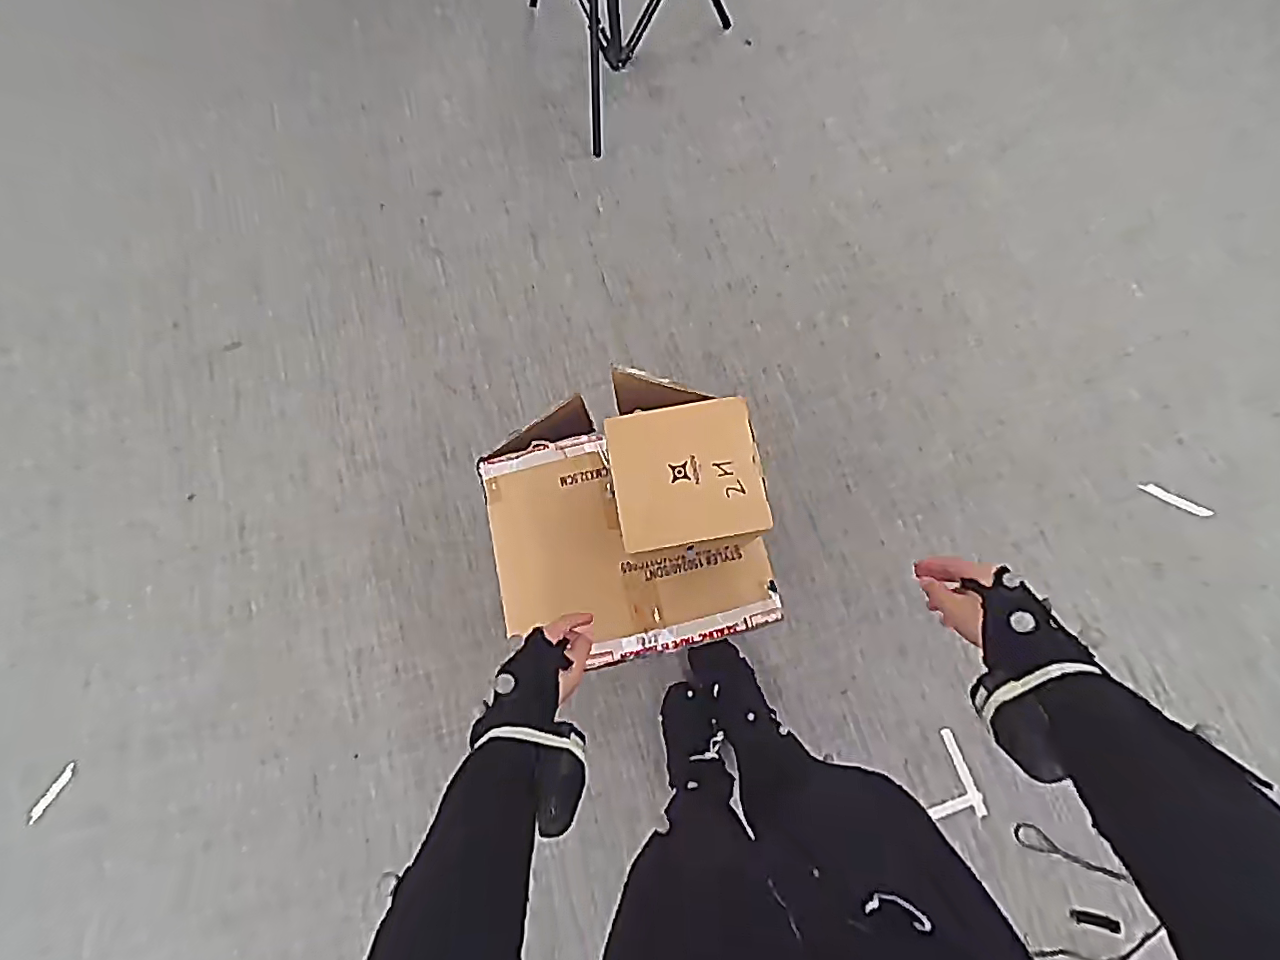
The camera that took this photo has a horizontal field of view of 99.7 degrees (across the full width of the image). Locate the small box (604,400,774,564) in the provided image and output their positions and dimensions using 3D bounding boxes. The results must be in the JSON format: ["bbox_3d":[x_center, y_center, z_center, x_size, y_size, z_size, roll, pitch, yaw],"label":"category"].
[{"bbox_3d":[0.057,0.013,0.707,0.179,0.176,0.168,-10,78,-1],"label":"small box"}]
